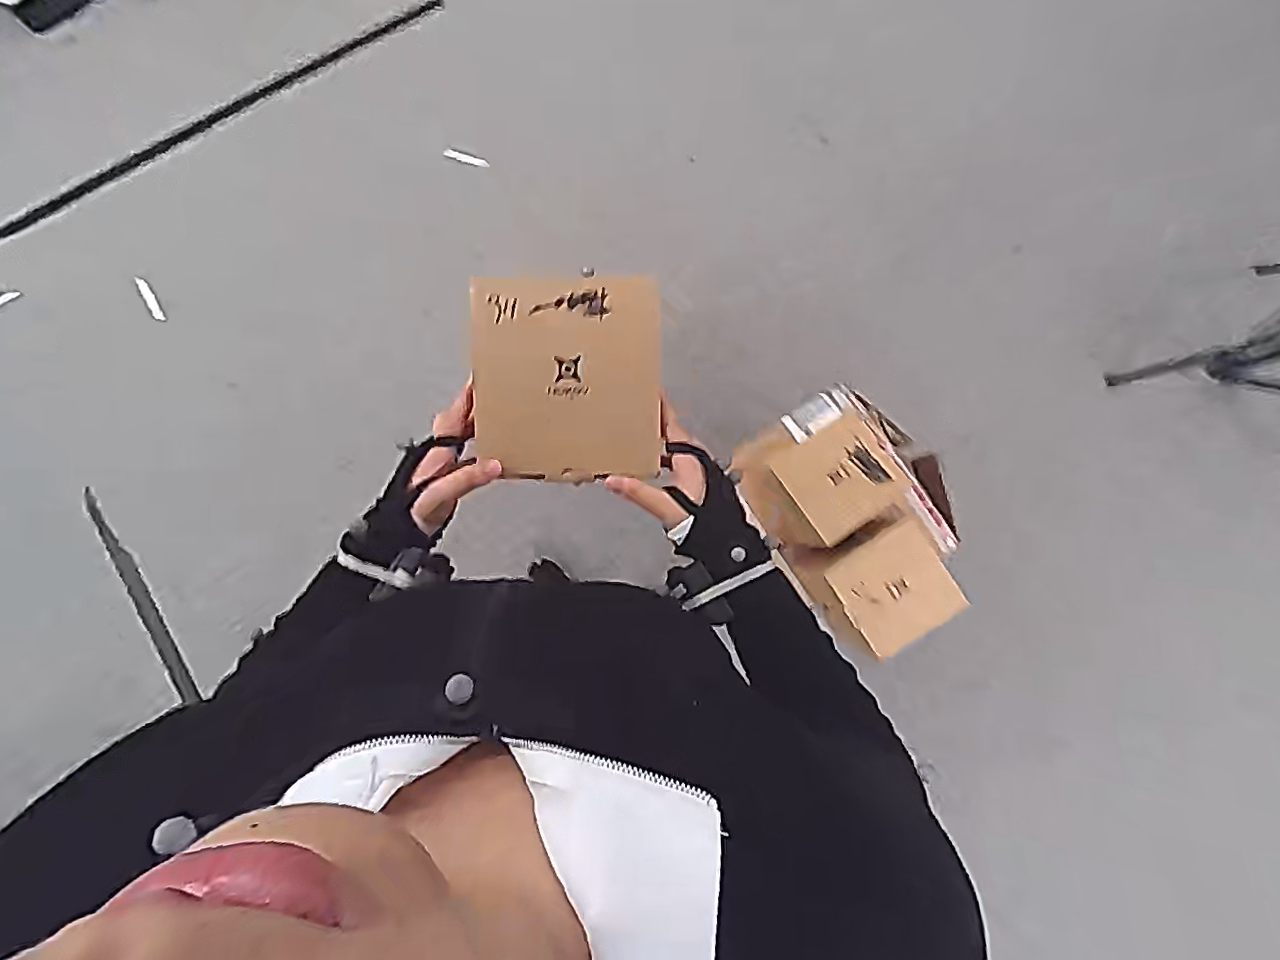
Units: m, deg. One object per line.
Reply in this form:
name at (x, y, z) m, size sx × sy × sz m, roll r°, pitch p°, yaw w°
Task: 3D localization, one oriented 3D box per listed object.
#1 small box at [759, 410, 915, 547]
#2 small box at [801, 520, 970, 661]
small box at (0.335, 0.003, 0.961) m, size 0.179 × 0.176 × 0.168 m, roll -34°, pitch 83°, yaw -1°
small box at (0.412, 0.180, 0.941) m, size 0.179 × 0.176 × 0.168 m, roll -32°, pitch 85°, yaw -2°
